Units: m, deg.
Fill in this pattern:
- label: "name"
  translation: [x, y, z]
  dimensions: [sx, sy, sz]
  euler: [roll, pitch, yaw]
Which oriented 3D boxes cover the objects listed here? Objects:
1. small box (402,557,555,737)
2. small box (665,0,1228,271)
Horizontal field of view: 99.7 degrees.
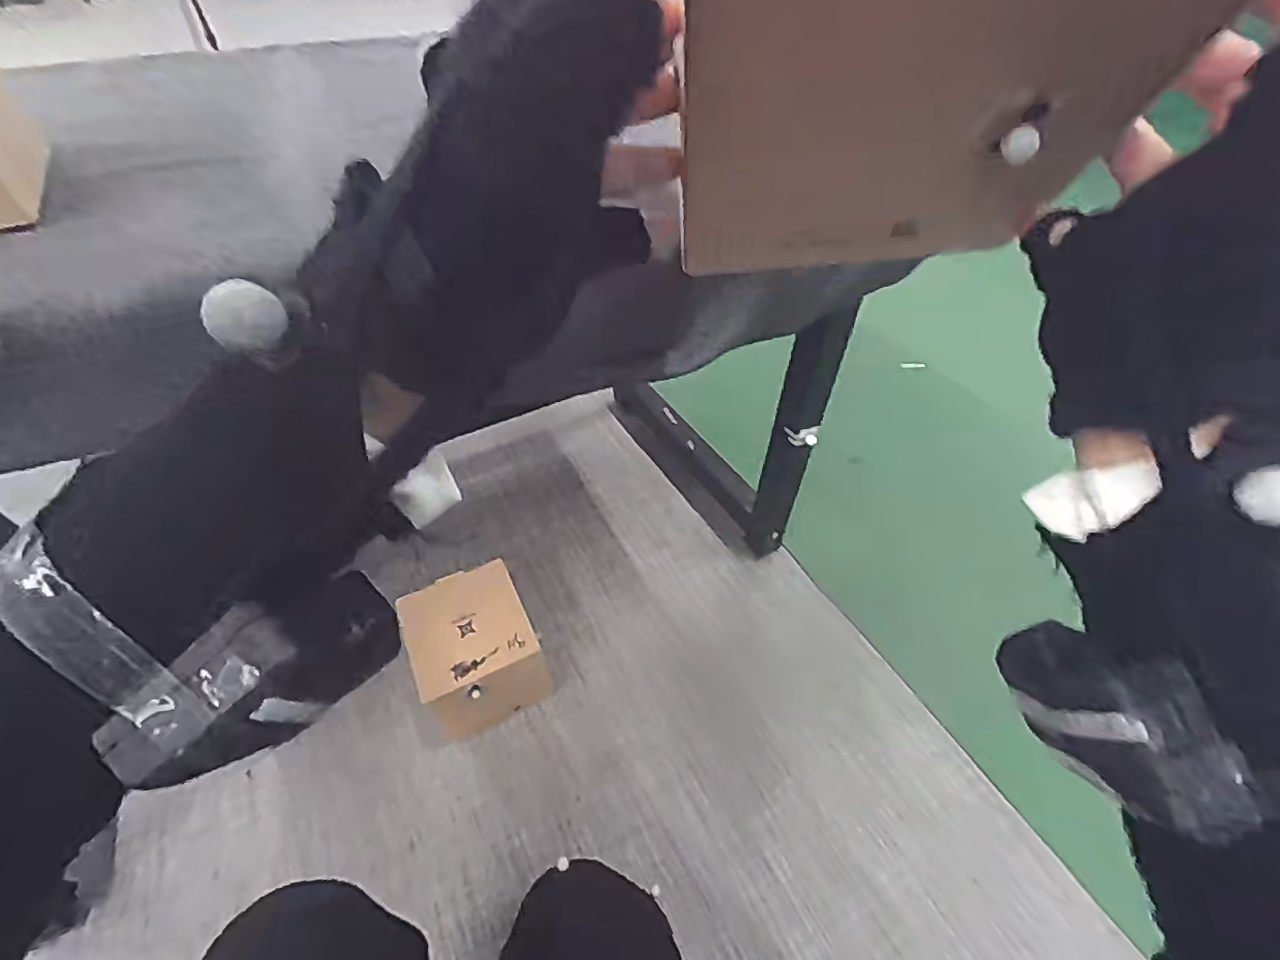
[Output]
- label: "small box"
  translation: [-0.244, 0.258, 0.837]
  dimensions: [0.168, 0.176, 0.179]
  euler: [-22, 50, -18]
- label: "small box"
  translation: [0.093, -0.202, 0.218]
  dimensions: [0.168, 0.176, 0.179]
  euler: [-3, 81, 4]
